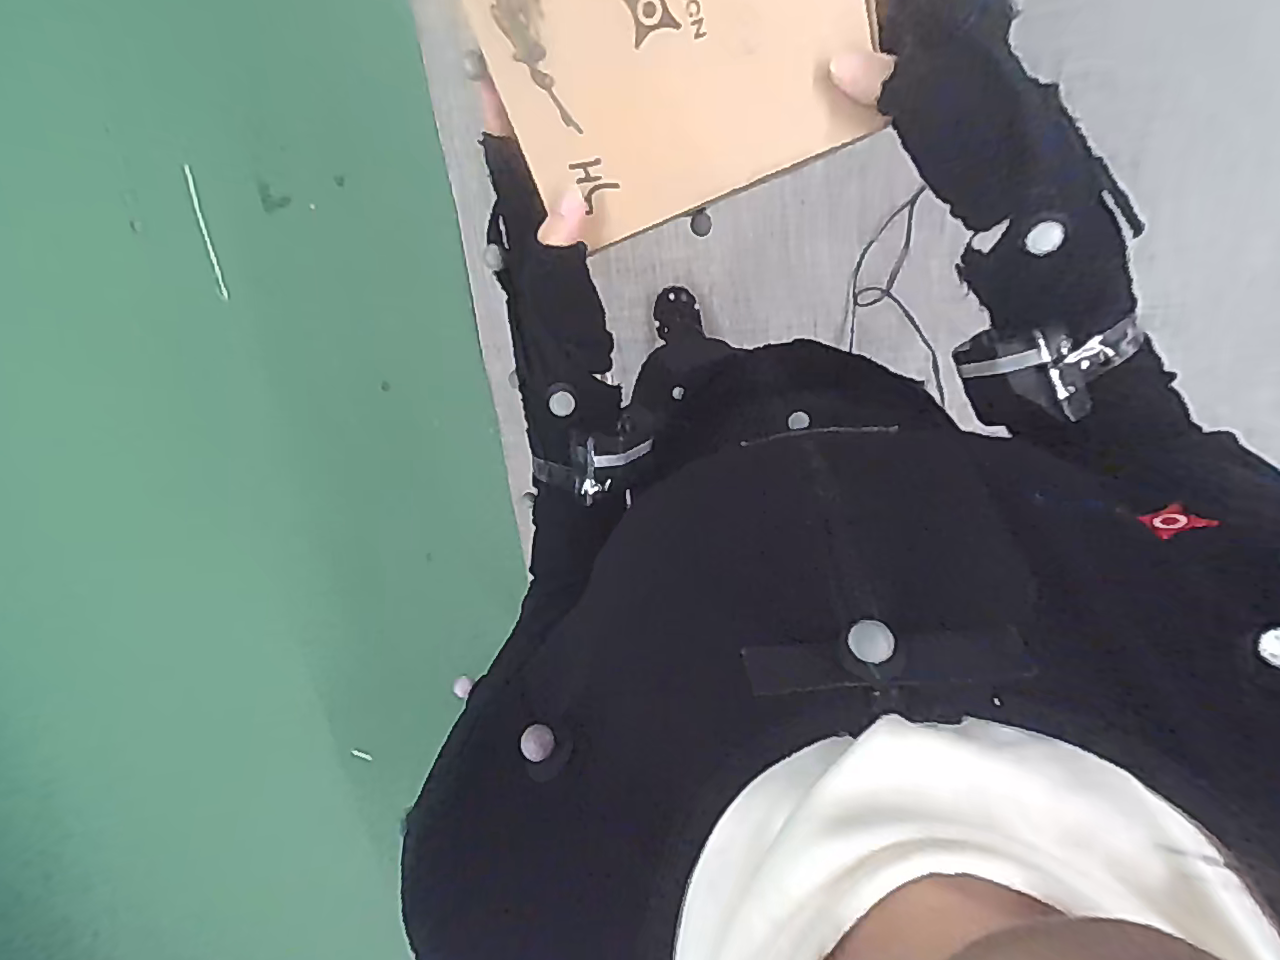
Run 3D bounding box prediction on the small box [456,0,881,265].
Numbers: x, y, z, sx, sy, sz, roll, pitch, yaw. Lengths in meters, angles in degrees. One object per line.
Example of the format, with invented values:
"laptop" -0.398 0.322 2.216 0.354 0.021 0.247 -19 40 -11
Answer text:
"small box" 0.010 -0.247 0.324 0.179 0.176 0.168 -21 112 9
